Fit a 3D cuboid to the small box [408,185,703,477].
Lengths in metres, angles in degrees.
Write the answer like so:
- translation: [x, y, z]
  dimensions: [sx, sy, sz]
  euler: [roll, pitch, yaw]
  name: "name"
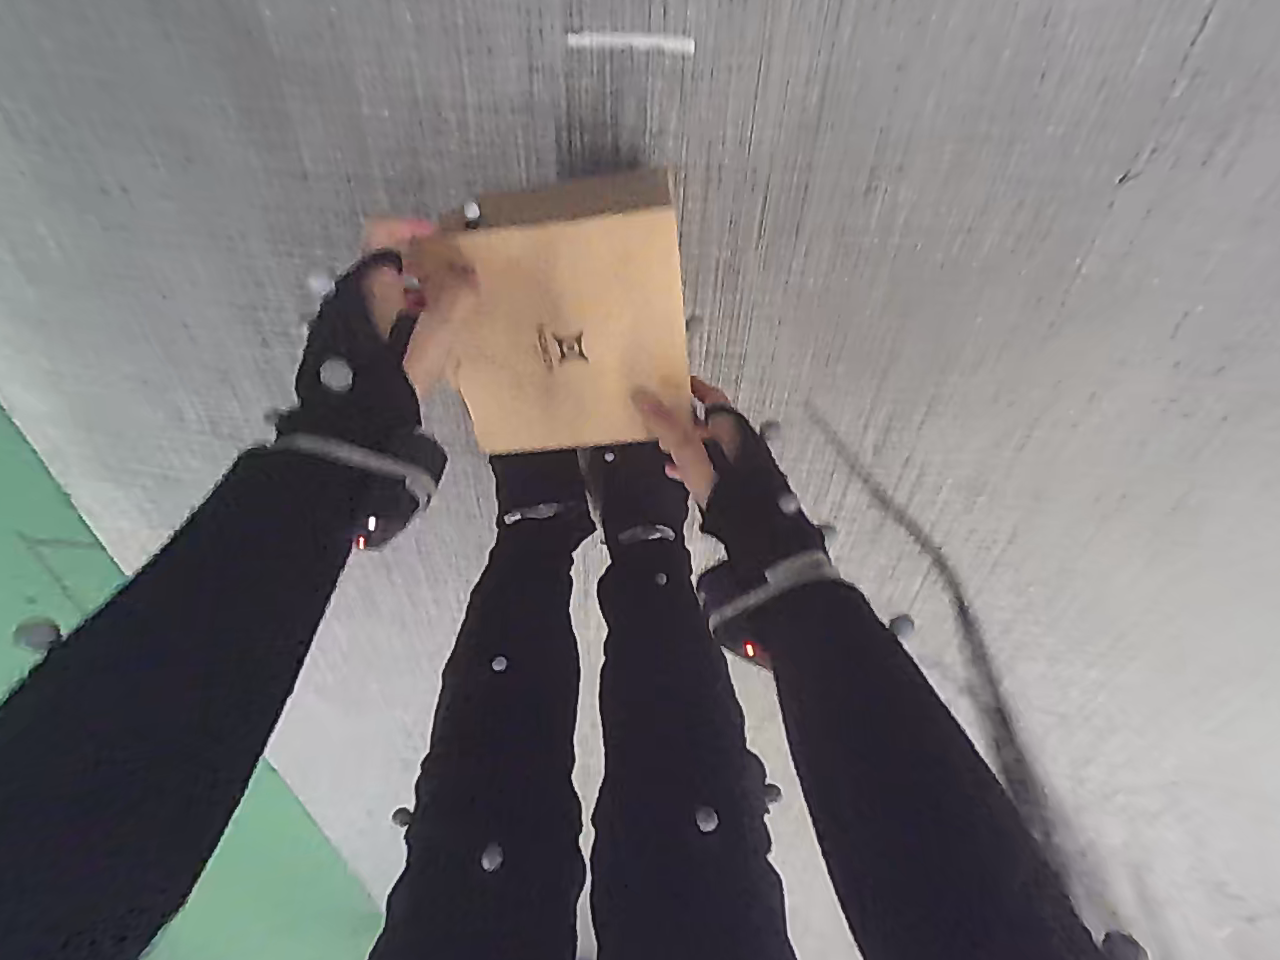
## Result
- translation: [-0.047, -0.123, 0.434]
  dimensions: [0.179, 0.176, 0.168]
  euler: [-5, 128, 7]
  name: "small box"
